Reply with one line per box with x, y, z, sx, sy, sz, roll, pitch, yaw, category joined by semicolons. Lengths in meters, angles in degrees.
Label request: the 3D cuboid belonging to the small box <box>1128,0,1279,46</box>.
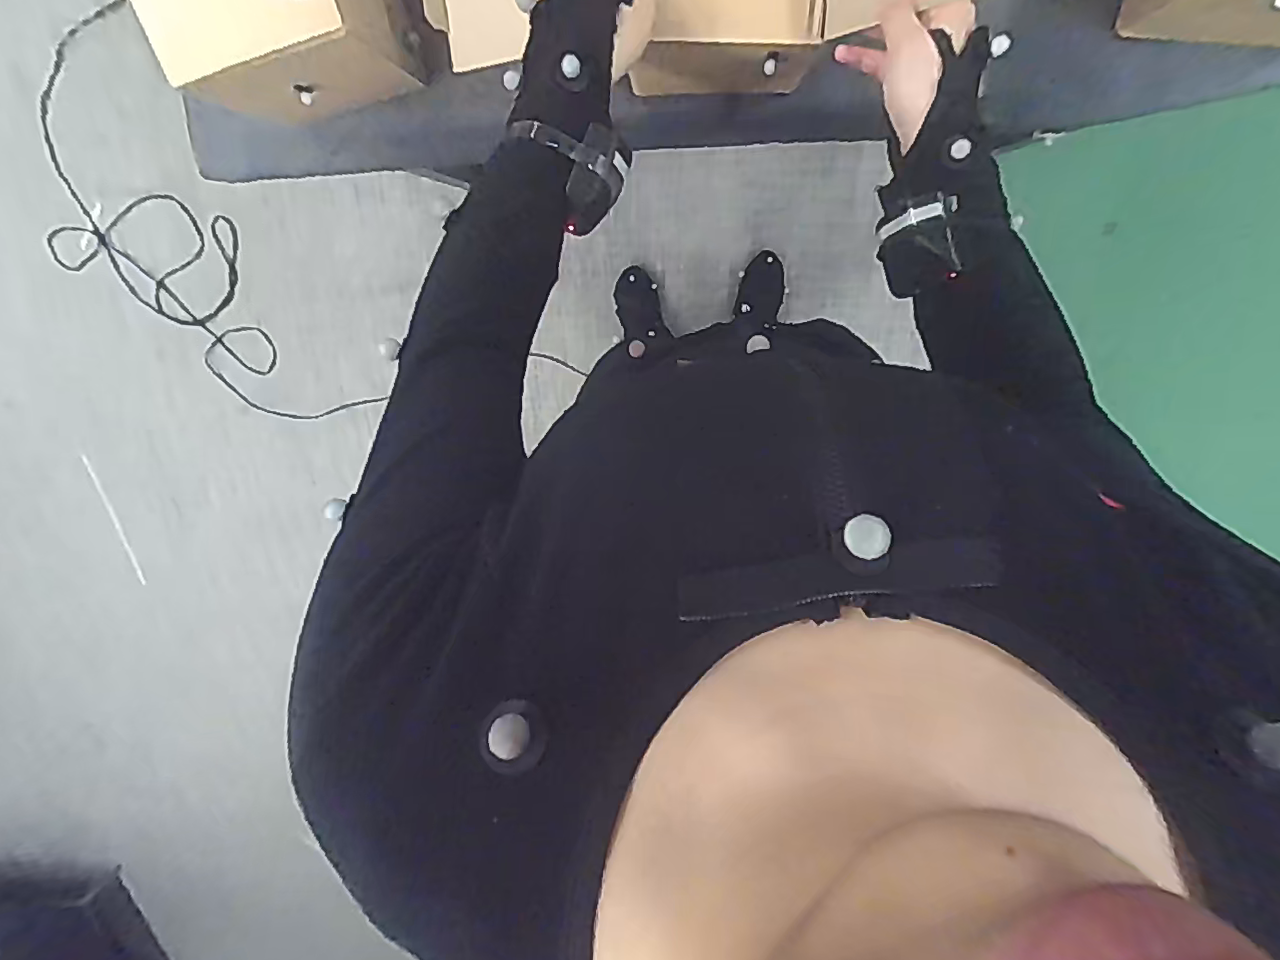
0.556;-0.479;0.428;0.179;0.176;0.168;6;109;3;small box

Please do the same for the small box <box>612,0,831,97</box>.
0.071;-0.459;0.482;0.179;0.176;0.168;1;114;5;small box

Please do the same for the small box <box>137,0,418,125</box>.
-0.337;-0.463;0.510;0.179;0.176;0.168;-11;112;9;small box
